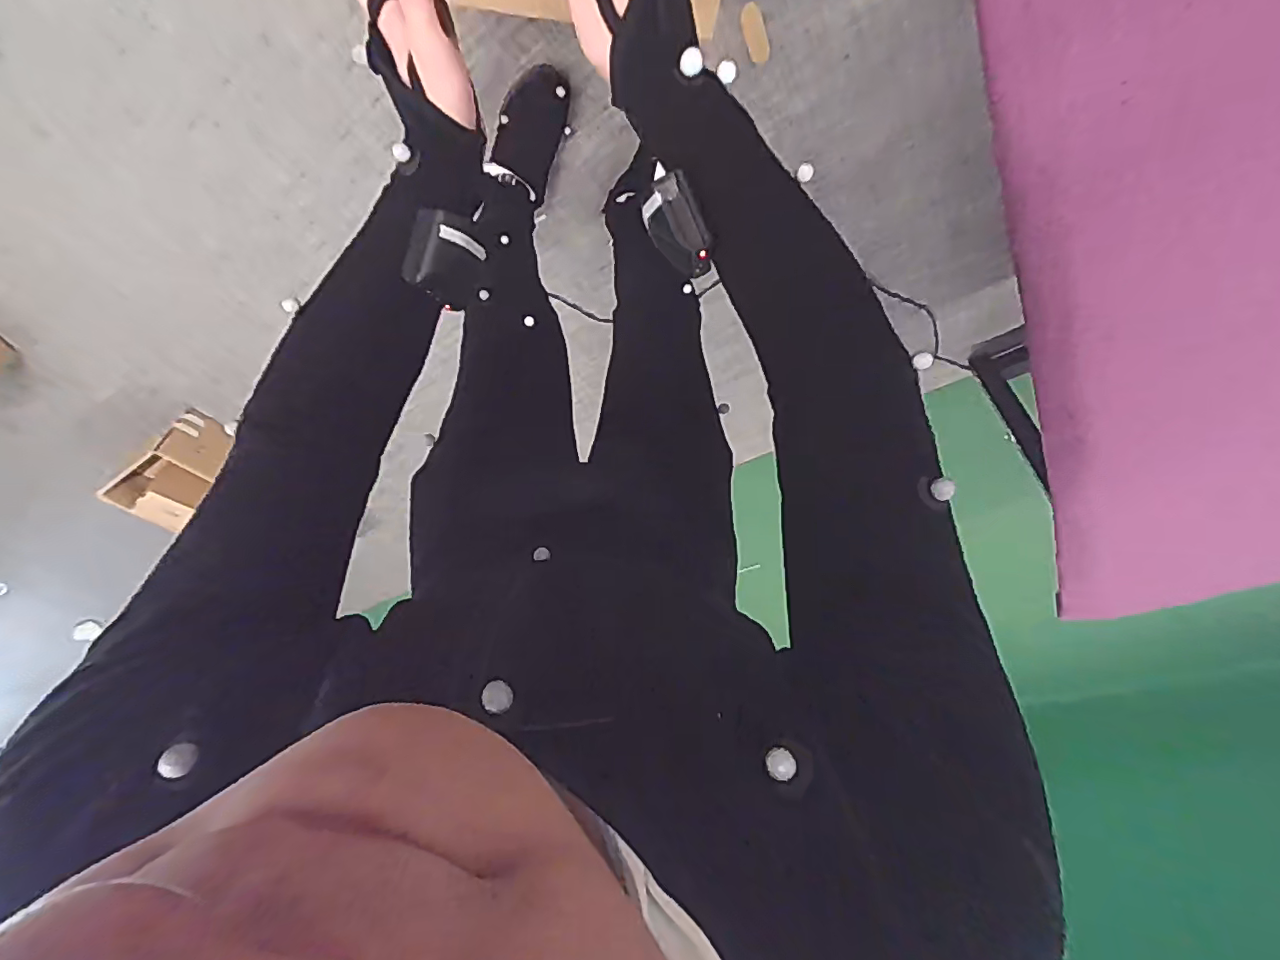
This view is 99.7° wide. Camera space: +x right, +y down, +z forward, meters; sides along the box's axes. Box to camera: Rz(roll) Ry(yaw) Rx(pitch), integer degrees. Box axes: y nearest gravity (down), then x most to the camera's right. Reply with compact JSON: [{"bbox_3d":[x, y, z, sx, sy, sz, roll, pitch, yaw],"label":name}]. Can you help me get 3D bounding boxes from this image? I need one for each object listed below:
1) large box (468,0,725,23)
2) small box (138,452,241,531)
[{"bbox_3d":[-0.082,-0.810,0.660,0.408,0.320,0.320,3,142,-4],"label":"large box"},{"bbox_3d":[-1.453,0.032,1.753,0.168,0.176,0.179,-26,134,28],"label":"small box"}]
